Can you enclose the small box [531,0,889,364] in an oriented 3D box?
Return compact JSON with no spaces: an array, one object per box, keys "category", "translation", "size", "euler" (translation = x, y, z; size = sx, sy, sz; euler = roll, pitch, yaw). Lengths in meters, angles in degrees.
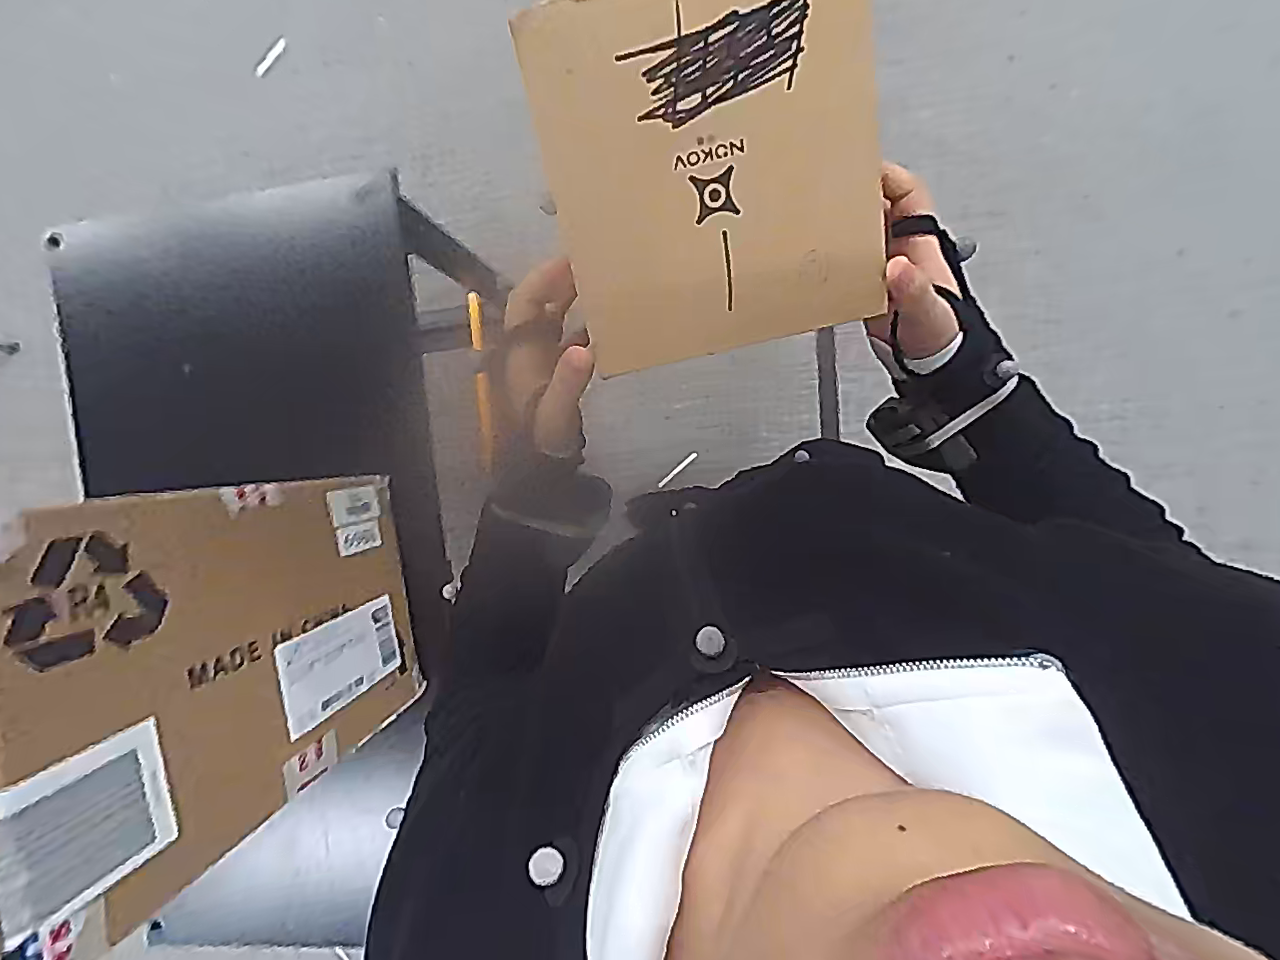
[{"category":"small box","translation":[0.043,-0.187,0.354],"size":[0.168,0.176,0.179],"euler":[-11,110,5]}]
